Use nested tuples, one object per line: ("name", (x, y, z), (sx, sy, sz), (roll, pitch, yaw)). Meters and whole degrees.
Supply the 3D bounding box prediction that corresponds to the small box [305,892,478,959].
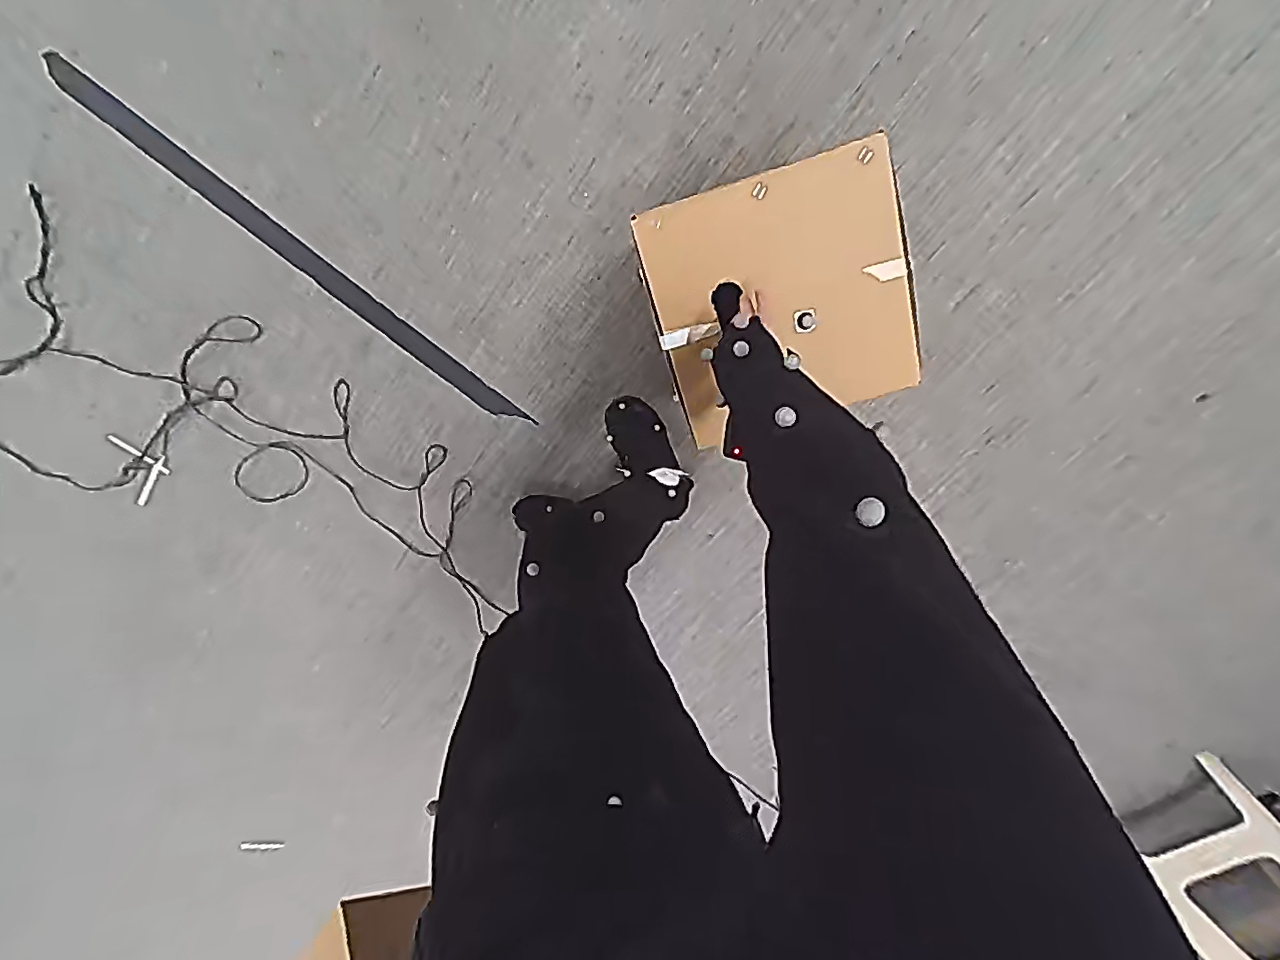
("small box", (-0.300, 0.637, 0.641), (0.168, 0.179, 0.176), (-51, 135, 4))
